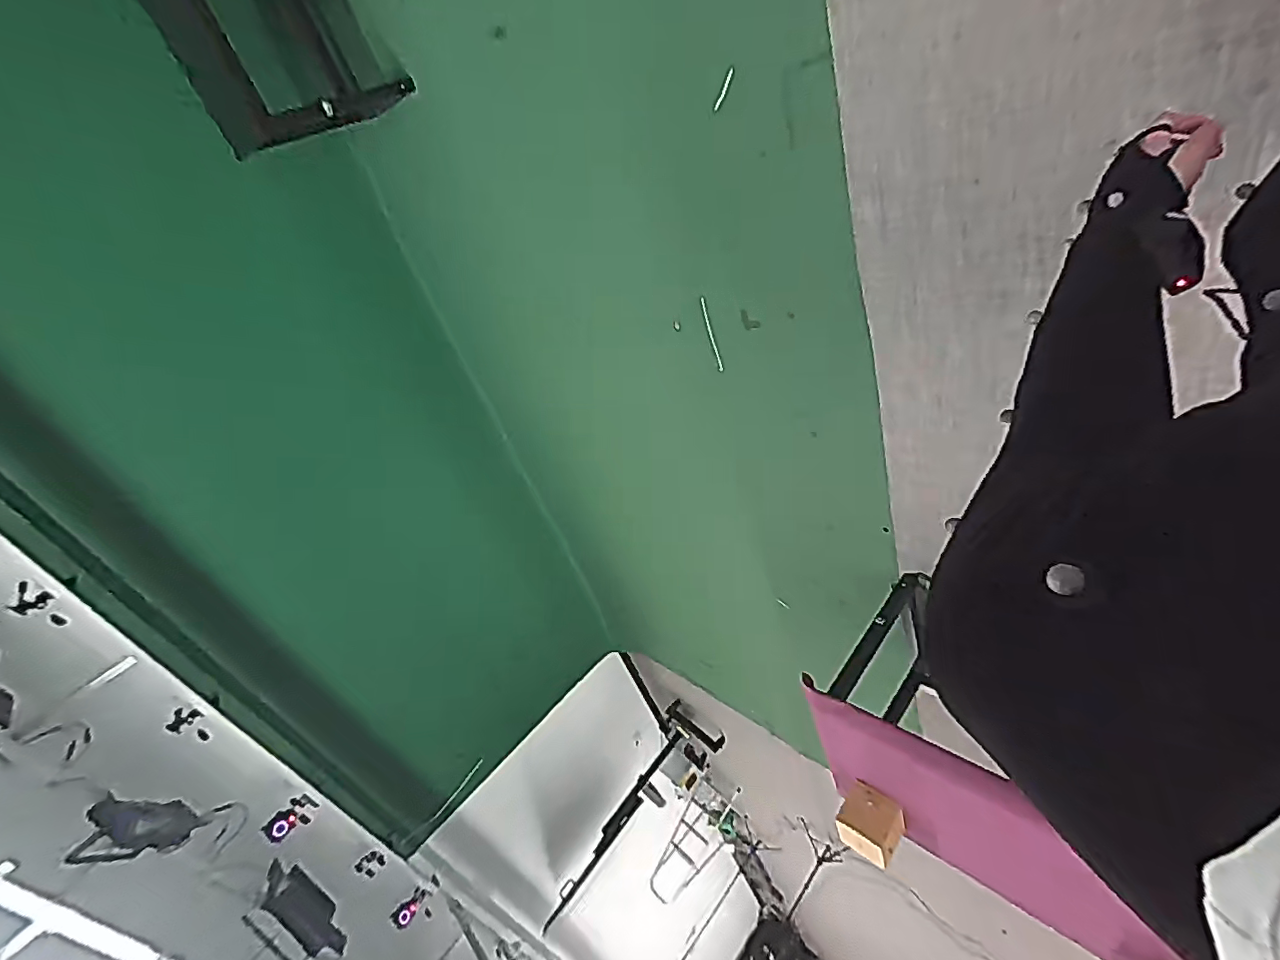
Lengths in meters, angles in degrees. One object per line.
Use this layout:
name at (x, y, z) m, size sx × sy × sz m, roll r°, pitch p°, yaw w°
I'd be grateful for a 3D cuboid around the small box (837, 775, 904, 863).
small box at (0.831, 1.207, 1.934) m, size 0.168 × 0.176 × 0.179 m, roll 13°, pitch 135°, yaw 44°
